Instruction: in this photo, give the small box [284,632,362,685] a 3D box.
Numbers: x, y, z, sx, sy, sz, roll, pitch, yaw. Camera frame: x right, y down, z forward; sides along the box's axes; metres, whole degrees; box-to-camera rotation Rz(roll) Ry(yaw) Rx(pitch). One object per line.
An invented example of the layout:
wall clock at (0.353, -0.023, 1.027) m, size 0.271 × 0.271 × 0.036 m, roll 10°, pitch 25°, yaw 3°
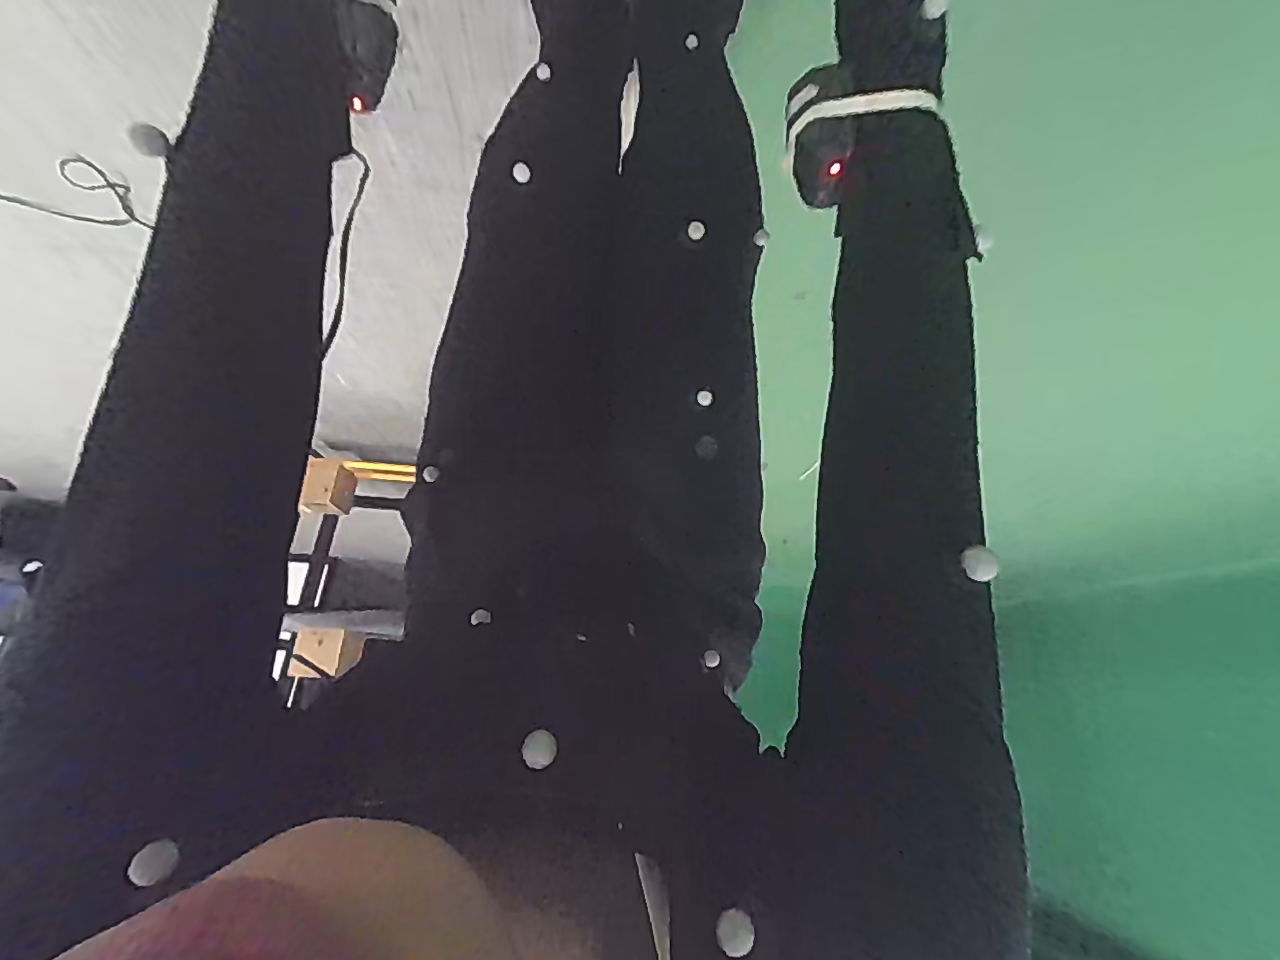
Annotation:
small box at (-1.143, 0.649, 1.964) m, size 0.168 × 0.176 × 0.179 m, roll 4°, pitch 160°, yaw -1°
